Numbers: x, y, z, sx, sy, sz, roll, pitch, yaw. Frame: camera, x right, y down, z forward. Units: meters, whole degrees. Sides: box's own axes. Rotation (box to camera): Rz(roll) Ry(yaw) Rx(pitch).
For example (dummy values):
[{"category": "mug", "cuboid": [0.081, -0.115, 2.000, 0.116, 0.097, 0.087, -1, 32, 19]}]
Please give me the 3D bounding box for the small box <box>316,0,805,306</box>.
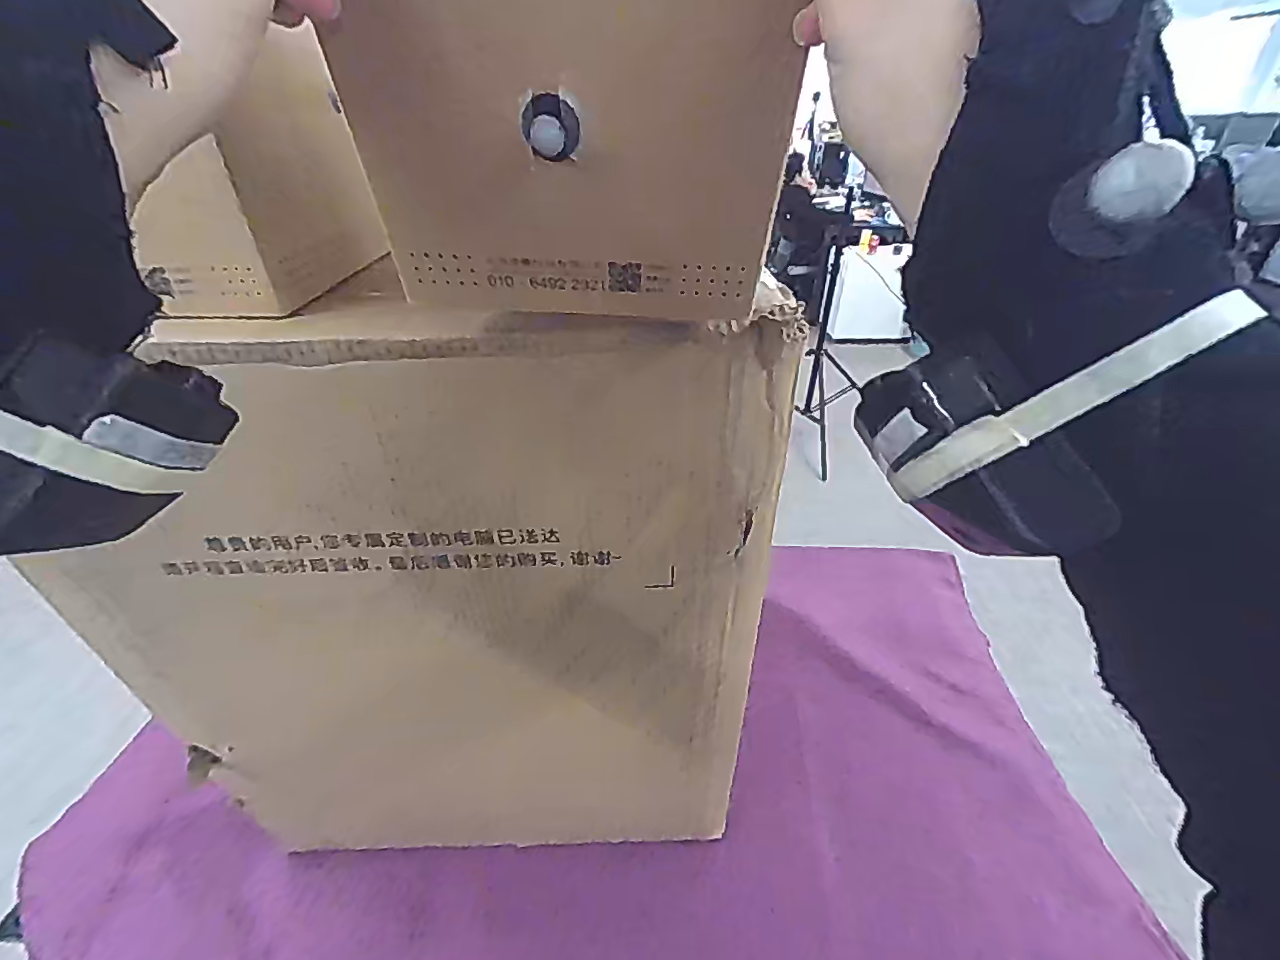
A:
[{"category": "small box", "cuboid": [-0.023, -0.198, 0.248, 0.168, 0.176, 0.179, 3, 50, 0]}]
